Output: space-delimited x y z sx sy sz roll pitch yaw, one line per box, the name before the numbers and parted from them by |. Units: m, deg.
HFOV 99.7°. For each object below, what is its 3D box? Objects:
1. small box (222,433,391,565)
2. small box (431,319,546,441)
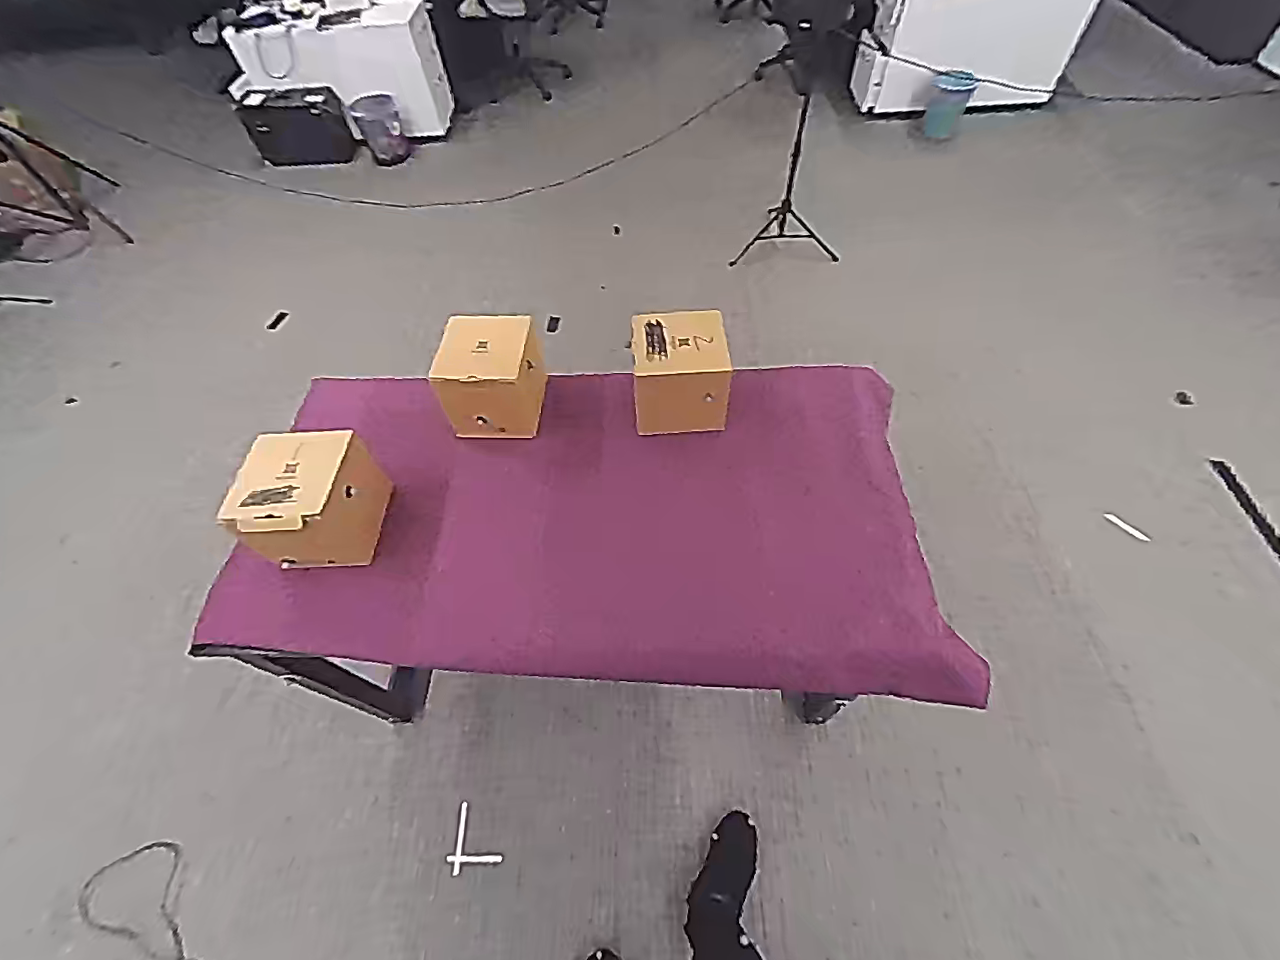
small box | -0.560 0.040 0.940 0.168 0.176 0.179 -2 54 1
small box | -0.291 -0.199 1.085 0.168 0.176 0.179 1 56 4
